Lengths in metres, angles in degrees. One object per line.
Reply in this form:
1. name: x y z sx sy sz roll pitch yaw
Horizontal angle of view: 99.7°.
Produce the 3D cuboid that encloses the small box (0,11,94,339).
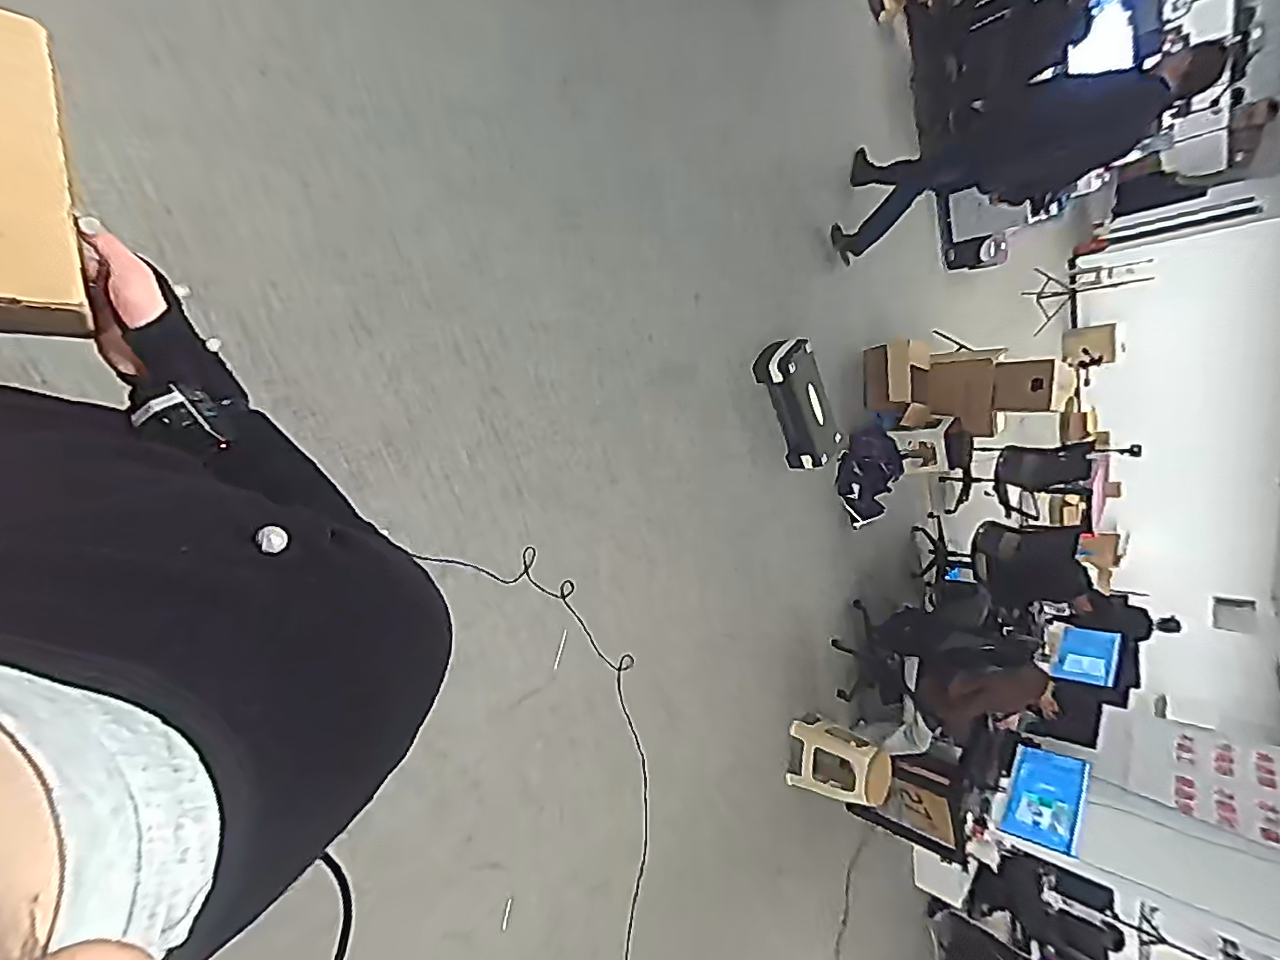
1. small box: -0.473 -0.190 0.343 0.168 0.176 0.179 -8 100 -44
